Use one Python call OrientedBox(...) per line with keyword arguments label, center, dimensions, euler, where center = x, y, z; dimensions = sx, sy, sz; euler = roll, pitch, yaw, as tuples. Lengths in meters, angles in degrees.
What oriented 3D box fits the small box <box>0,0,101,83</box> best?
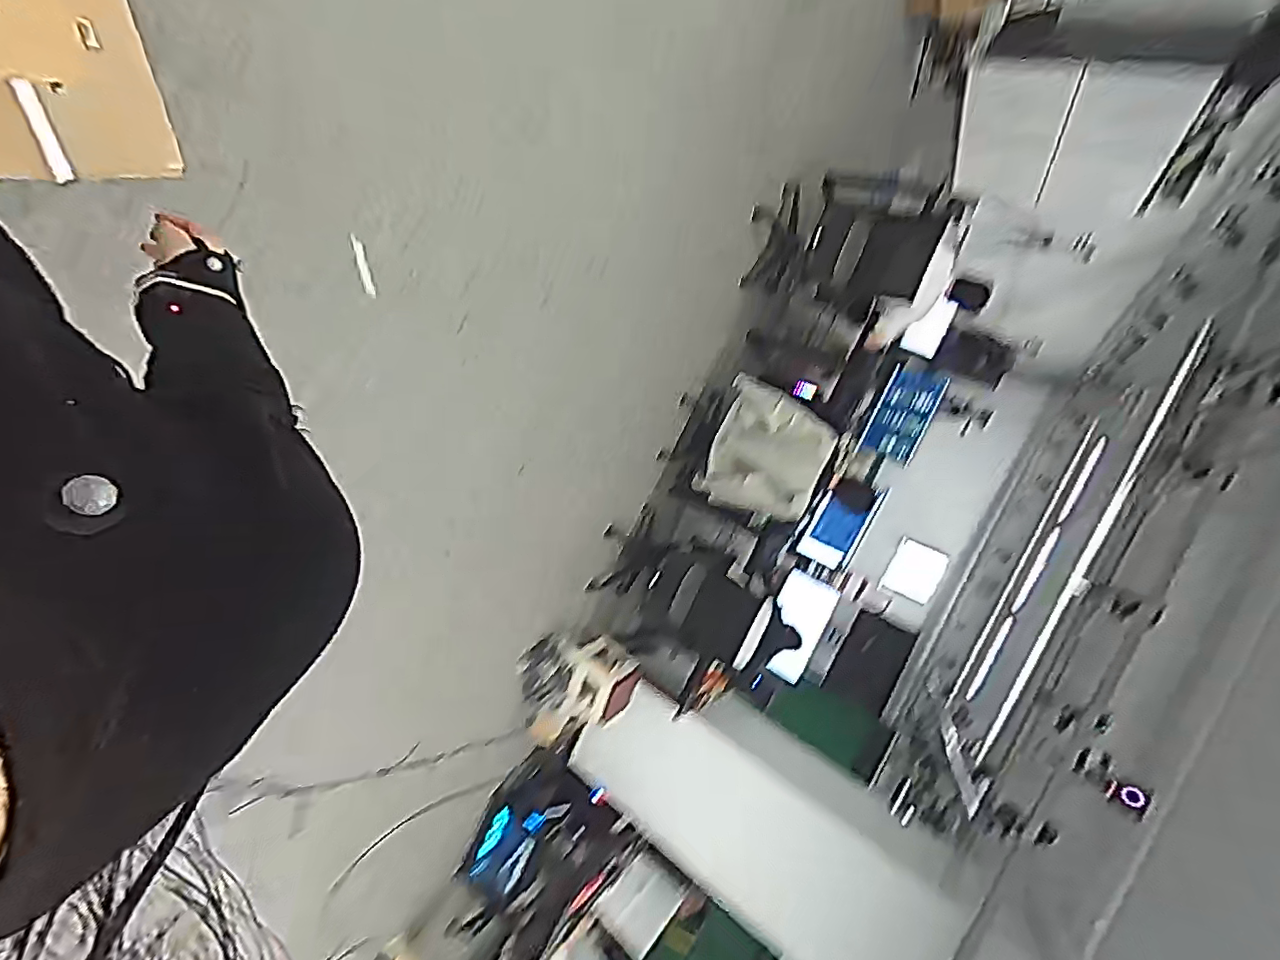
OrientedBox(label="small box", center=(-0.775, -0.557, 0.604), dimensions=(0.179, 0.176, 0.168), euler=(-34, 141, -43))
